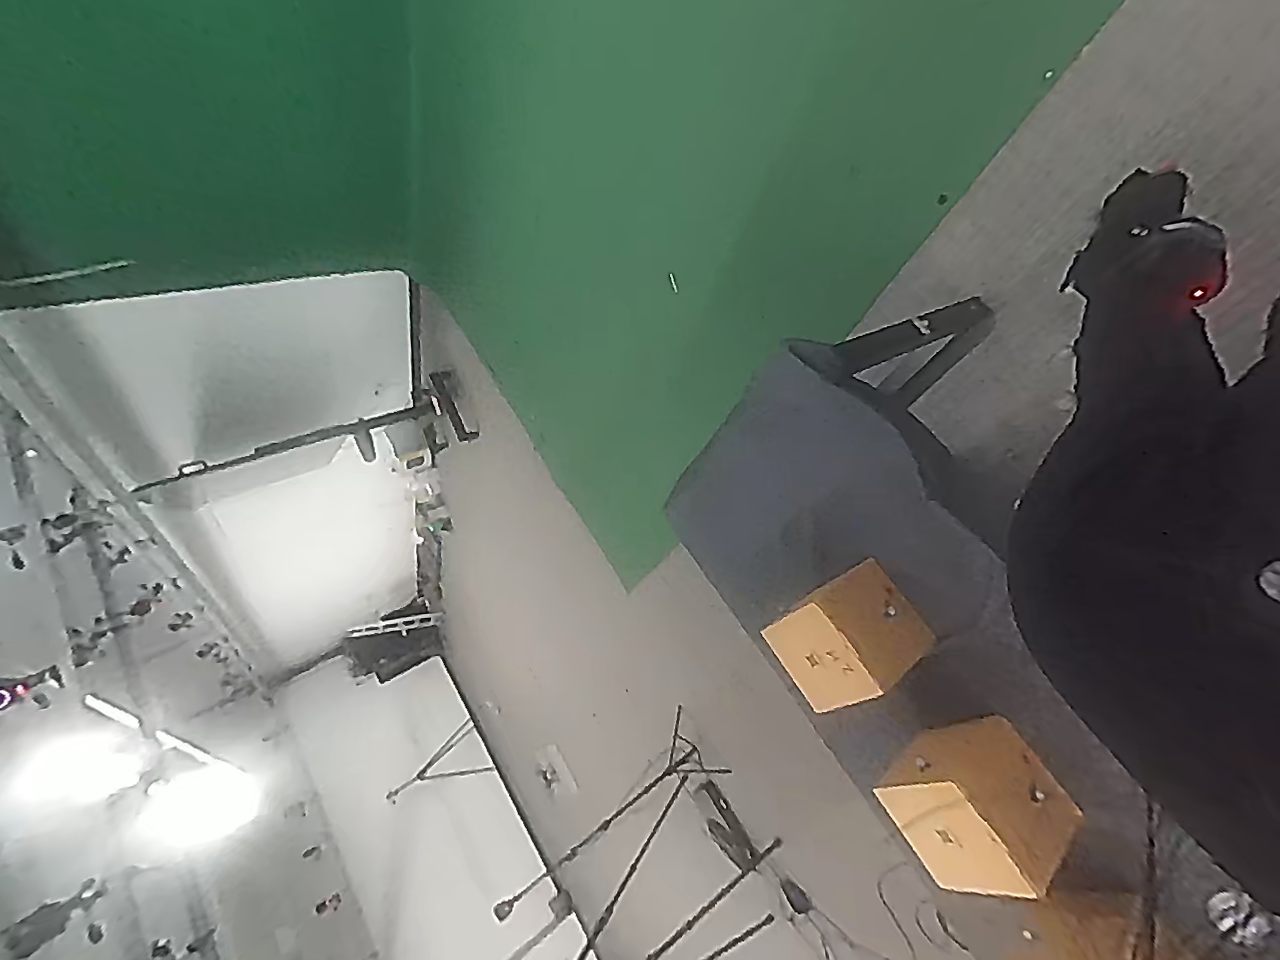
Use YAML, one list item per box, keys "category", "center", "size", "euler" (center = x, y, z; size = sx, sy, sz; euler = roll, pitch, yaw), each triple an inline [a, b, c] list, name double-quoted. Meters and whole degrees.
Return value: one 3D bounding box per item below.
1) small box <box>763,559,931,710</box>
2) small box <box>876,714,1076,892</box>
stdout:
- category: "small box"
  center: [0.355, 0.265, 0.934]
  size: [0.168, 0.176, 0.179]
  euler: [55, 145, 16]
- category: "small box"
  center: [0.522, 0.496, 0.847]
  size: [0.168, 0.176, 0.179]
  euler: [55, 145, 17]
